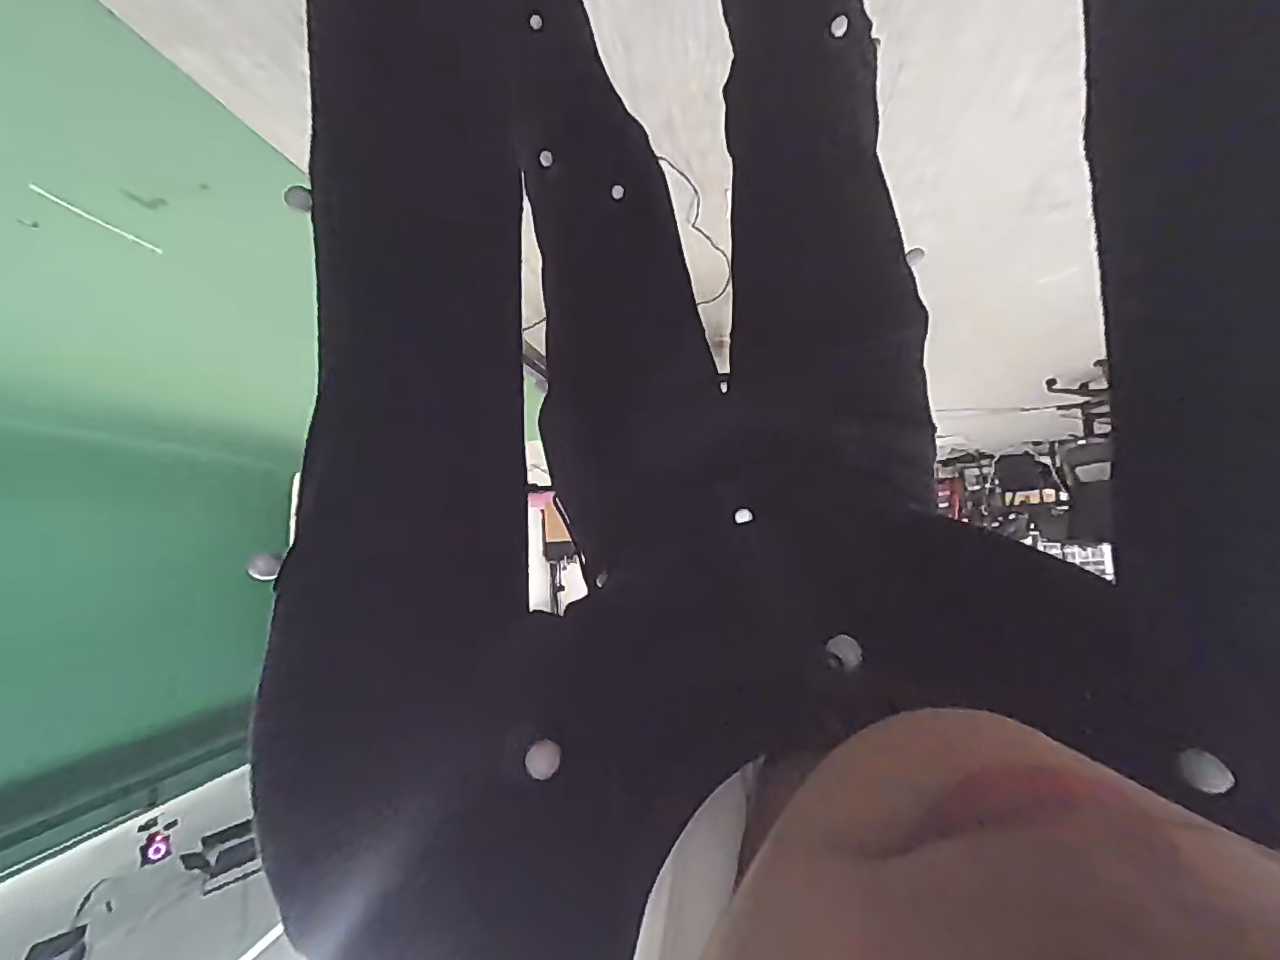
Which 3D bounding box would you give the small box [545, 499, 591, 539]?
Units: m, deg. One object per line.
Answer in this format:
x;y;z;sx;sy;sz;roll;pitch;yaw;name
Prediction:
-0.319;0.173;2.408;0.168;0.176;0.179;-4;175;7;small box
